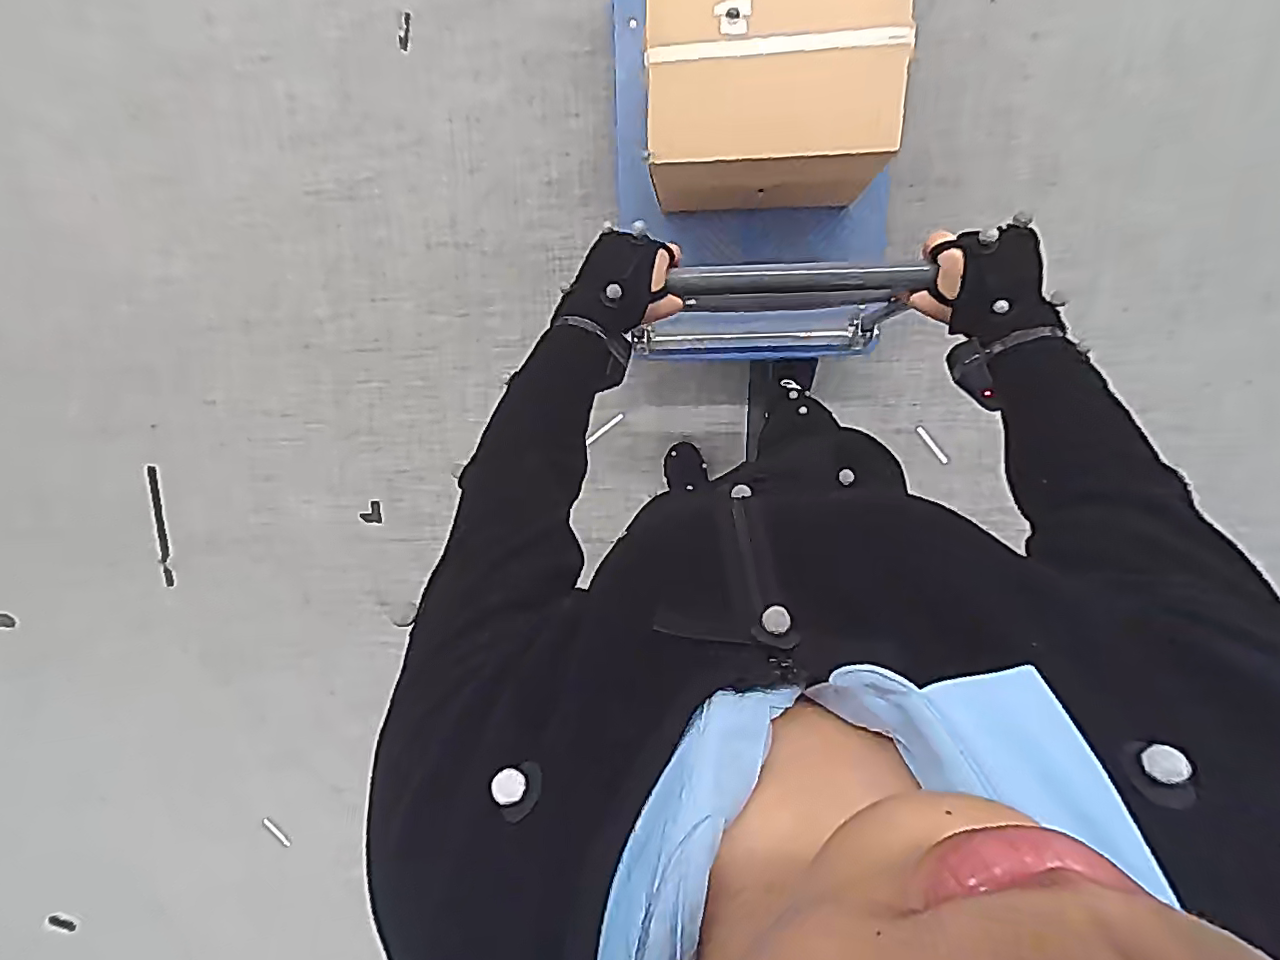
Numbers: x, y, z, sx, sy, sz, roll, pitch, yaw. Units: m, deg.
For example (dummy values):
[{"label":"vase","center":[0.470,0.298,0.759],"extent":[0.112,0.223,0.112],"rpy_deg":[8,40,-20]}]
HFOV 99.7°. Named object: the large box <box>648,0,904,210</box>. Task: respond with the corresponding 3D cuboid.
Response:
[{"label":"large box","center":[0.235,-0.719,1.013],"extent":[0.408,0.320,0.320],"rpy_deg":[0,102,8]}]
